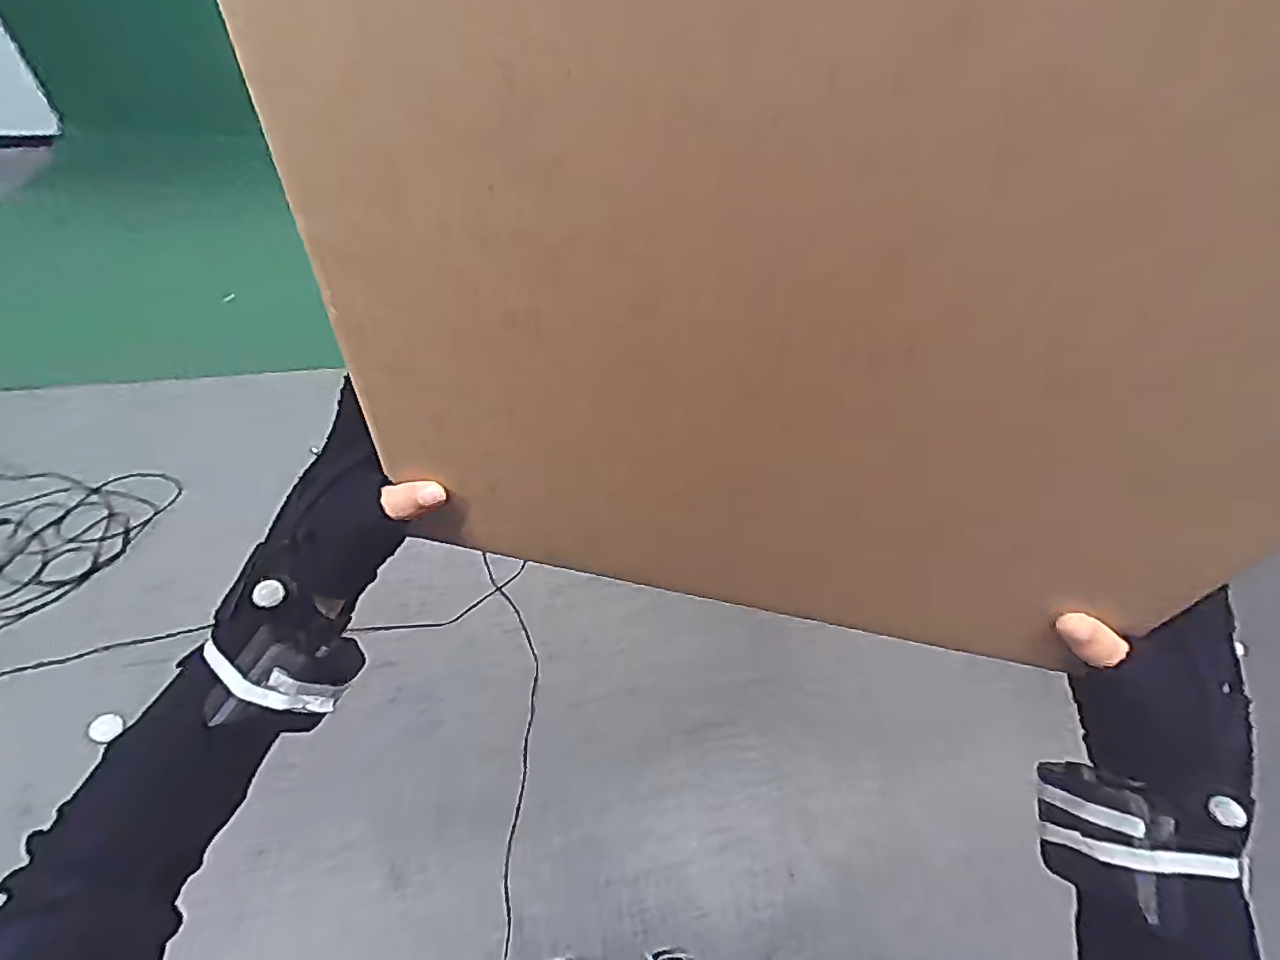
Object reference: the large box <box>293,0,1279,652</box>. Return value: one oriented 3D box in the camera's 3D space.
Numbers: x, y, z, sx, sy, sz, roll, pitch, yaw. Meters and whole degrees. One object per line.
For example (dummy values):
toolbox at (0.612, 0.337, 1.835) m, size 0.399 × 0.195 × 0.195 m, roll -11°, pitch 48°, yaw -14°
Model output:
large box at (0.101, -0.138, 0.322) m, size 0.408 × 0.320 × 0.320 m, roll 11°, pitch 46°, yaw 1°
